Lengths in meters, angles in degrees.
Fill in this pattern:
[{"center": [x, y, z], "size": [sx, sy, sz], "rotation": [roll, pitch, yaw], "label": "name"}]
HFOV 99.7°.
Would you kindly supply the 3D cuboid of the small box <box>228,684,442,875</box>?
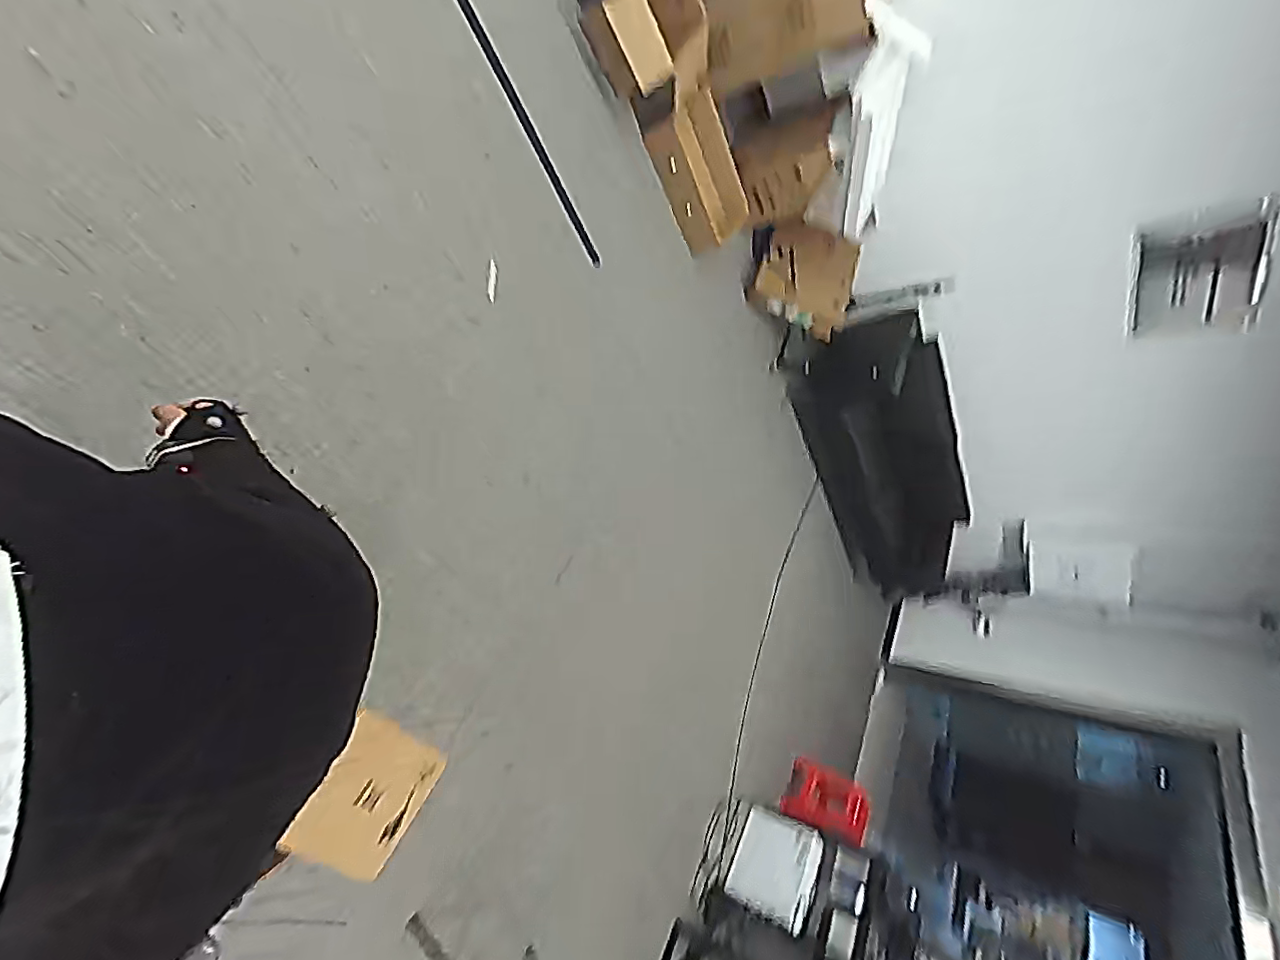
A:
[{"center": [-0.432, 0.412, 0.769], "size": [0.179, 0.176, 0.168], "rotation": [57, 48, -32], "label": "small box"}]
